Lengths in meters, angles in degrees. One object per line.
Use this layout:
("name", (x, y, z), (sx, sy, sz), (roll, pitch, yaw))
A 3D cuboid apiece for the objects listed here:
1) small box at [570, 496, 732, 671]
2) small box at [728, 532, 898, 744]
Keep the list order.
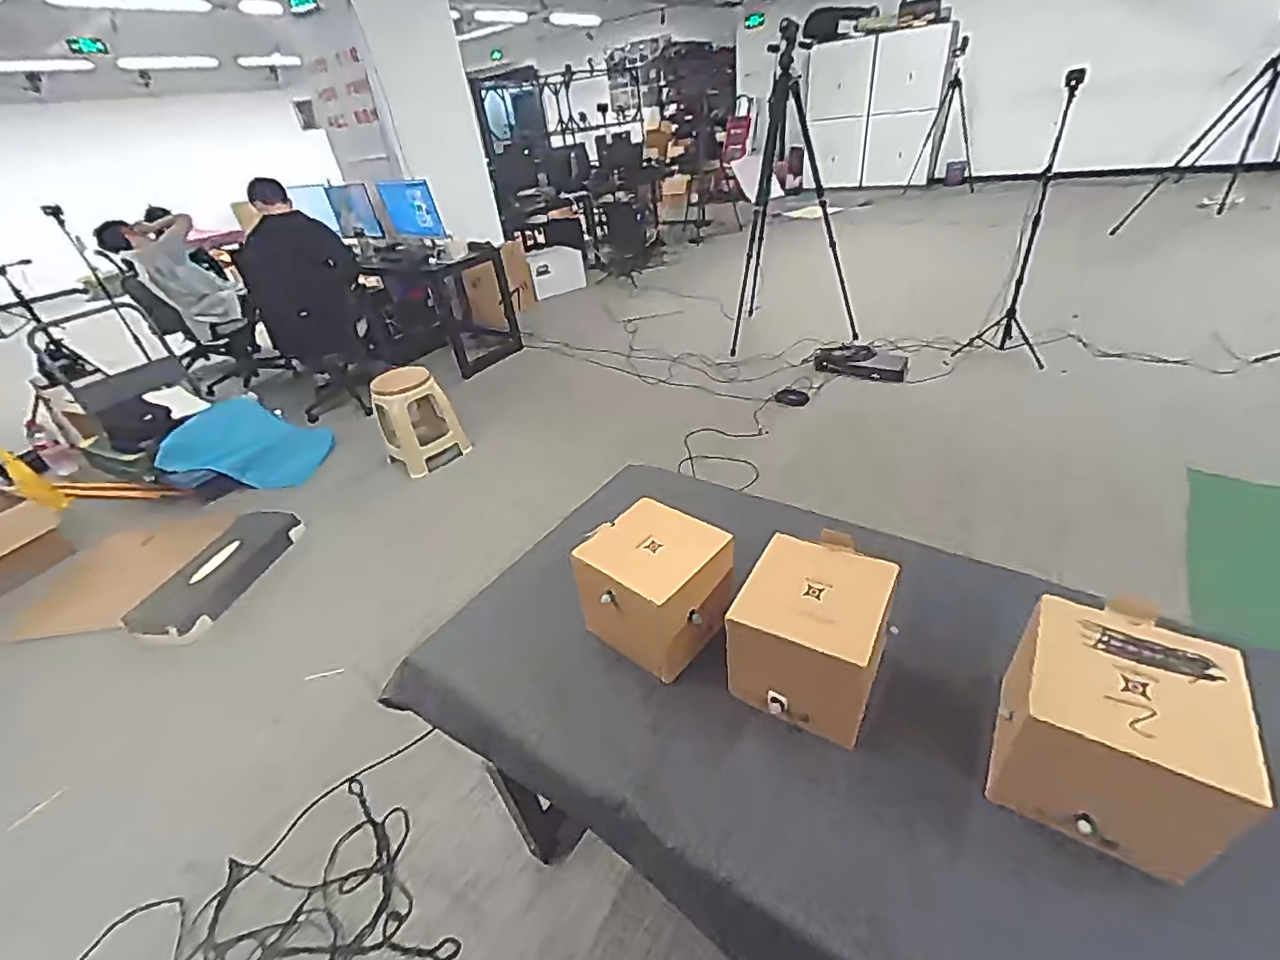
("small box", (0.024, 0.156, 0.816), (0.179, 0.176, 0.168), (23, 44, 37))
("small box", (0.225, 0.201, 0.713), (0.168, 0.176, 0.179), (13, 39, 29))
